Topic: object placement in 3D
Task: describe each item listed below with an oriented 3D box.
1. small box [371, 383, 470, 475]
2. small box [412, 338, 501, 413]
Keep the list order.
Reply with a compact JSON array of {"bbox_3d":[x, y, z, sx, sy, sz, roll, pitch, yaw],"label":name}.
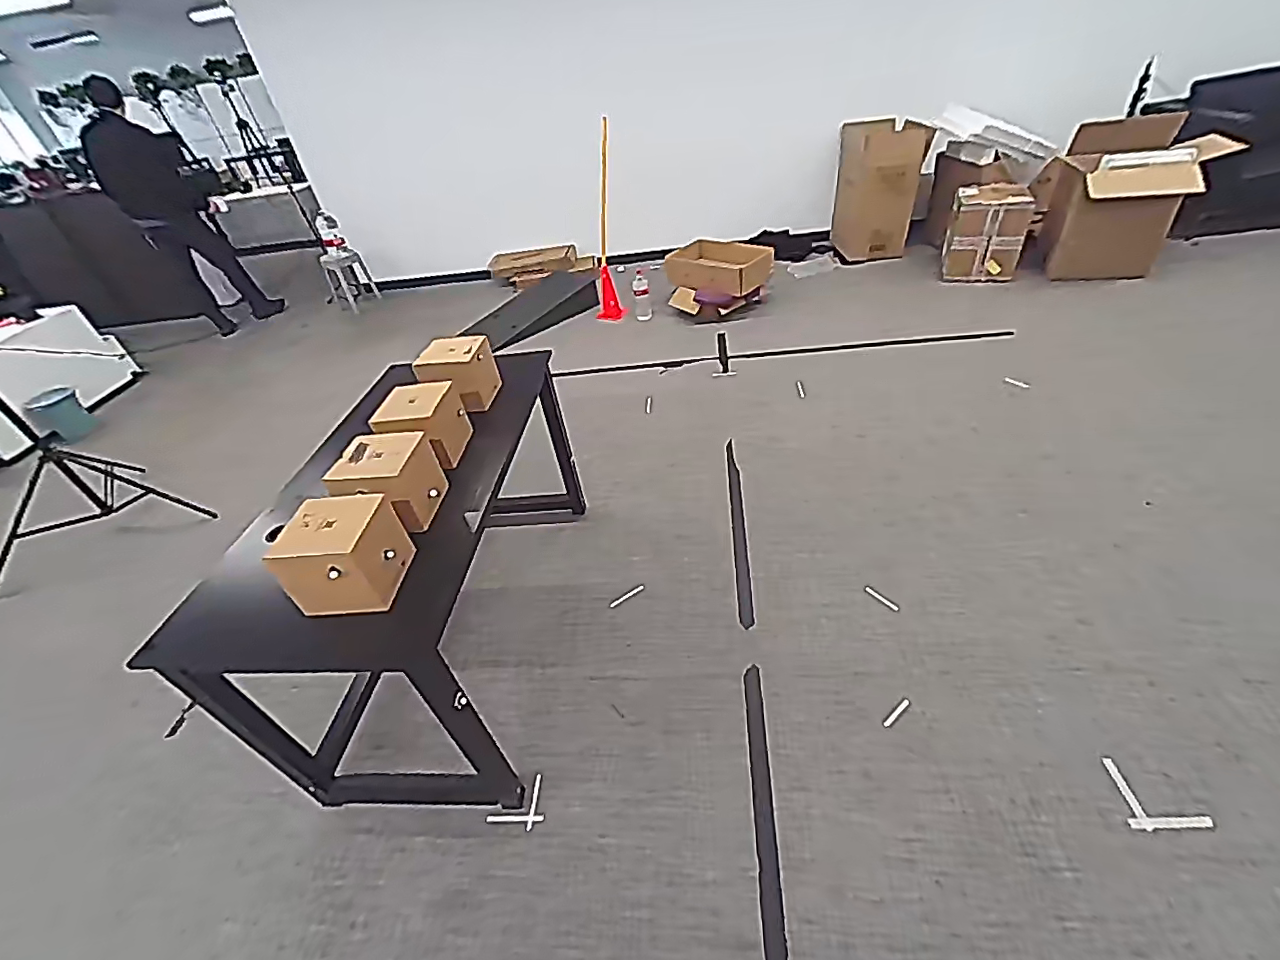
[{"bbox_3d":[-0.568,-0.134,1.430,0.168,0.176,0.179,-5,40,7],"label":"small box"},{"bbox_3d":[-0.547,-0.311,1.637,0.179,0.176,0.168,-3,40,9],"label":"small box"}]
